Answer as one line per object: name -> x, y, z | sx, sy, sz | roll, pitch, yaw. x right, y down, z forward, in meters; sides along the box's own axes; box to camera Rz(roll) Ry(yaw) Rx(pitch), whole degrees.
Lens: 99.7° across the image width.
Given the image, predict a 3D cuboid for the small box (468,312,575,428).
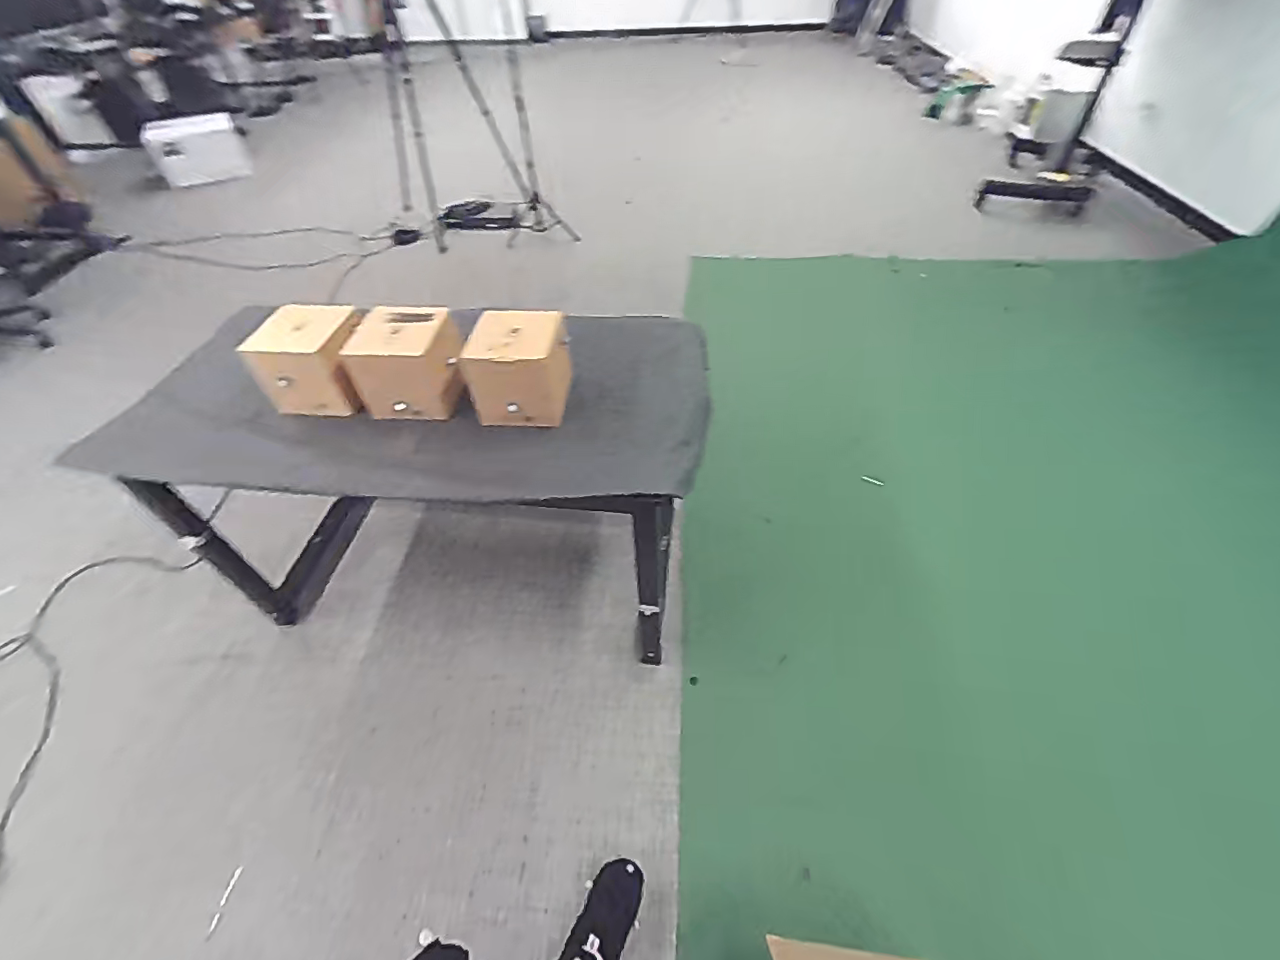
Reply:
small box -> -0.235, -0.230, 1.126 | 0.168, 0.176, 0.179 | 2, 47, 5
